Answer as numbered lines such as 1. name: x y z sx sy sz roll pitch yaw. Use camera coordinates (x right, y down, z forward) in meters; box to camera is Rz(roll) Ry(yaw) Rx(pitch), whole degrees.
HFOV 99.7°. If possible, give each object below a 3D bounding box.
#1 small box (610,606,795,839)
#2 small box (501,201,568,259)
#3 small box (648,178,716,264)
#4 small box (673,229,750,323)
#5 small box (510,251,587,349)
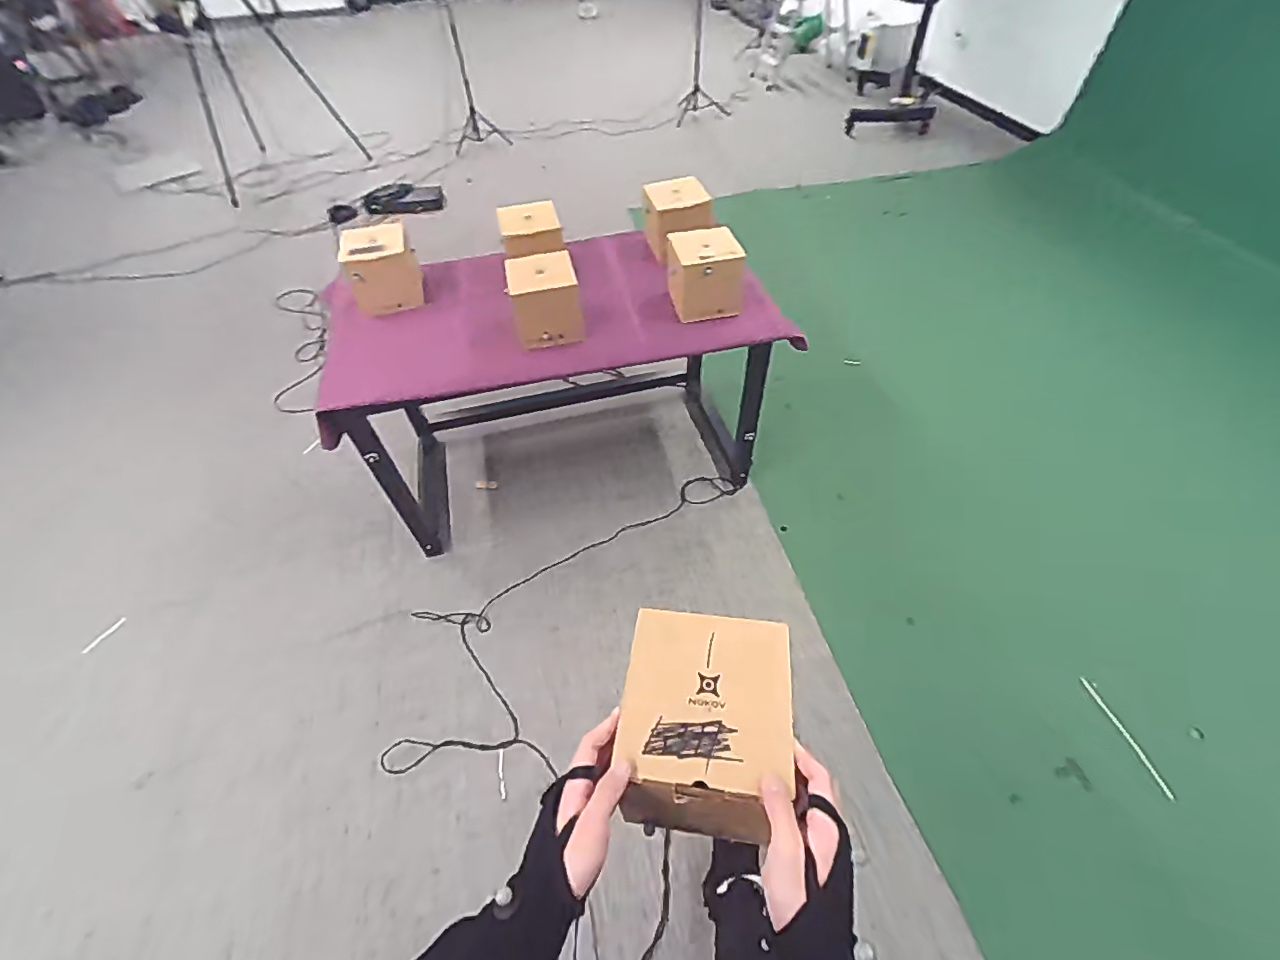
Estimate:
1. small box: 0.071 0.263 0.583 0.168 0.176 0.179 4 46 8
2. small box: -0.303 -0.687 1.584 0.168 0.176 0.179 -12 53 -9
3. small box: 0.123 -0.786 1.645 0.168 0.176 0.179 -13 53 -5
4. small box: 0.183 -0.544 1.448 0.168 0.176 0.179 -10 49 -4
5. small box: -0.237 -0.464 1.399 0.168 0.176 0.179 -11 51 -6
